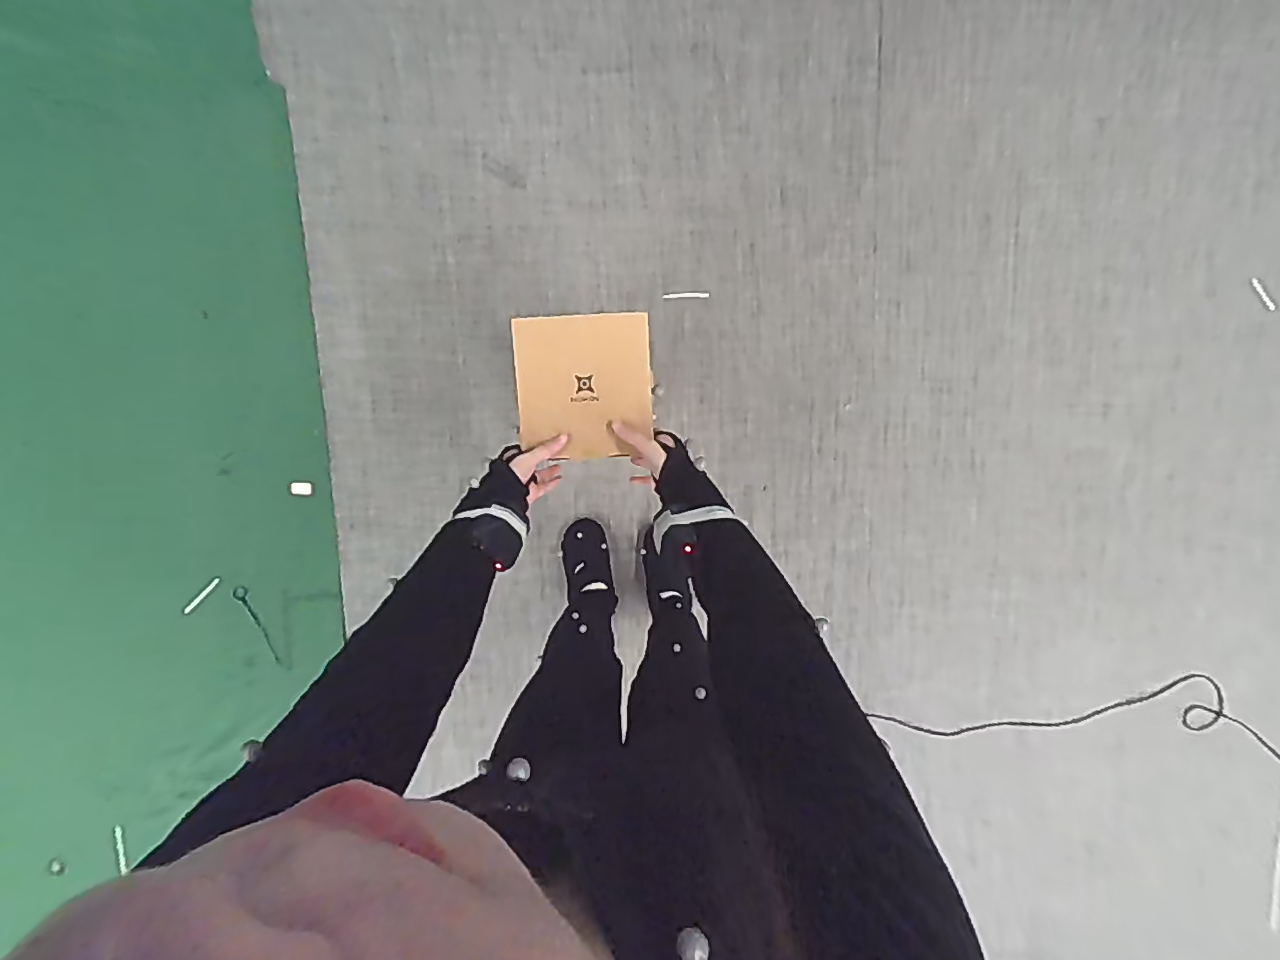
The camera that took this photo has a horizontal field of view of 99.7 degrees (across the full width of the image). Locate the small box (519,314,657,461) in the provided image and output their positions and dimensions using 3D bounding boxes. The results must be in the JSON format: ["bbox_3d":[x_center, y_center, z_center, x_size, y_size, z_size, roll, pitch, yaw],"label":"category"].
[{"bbox_3d":[-0.066,-0.123,0.744,0.168,0.176,0.179,-3,99,-1],"label":"small box"}]
